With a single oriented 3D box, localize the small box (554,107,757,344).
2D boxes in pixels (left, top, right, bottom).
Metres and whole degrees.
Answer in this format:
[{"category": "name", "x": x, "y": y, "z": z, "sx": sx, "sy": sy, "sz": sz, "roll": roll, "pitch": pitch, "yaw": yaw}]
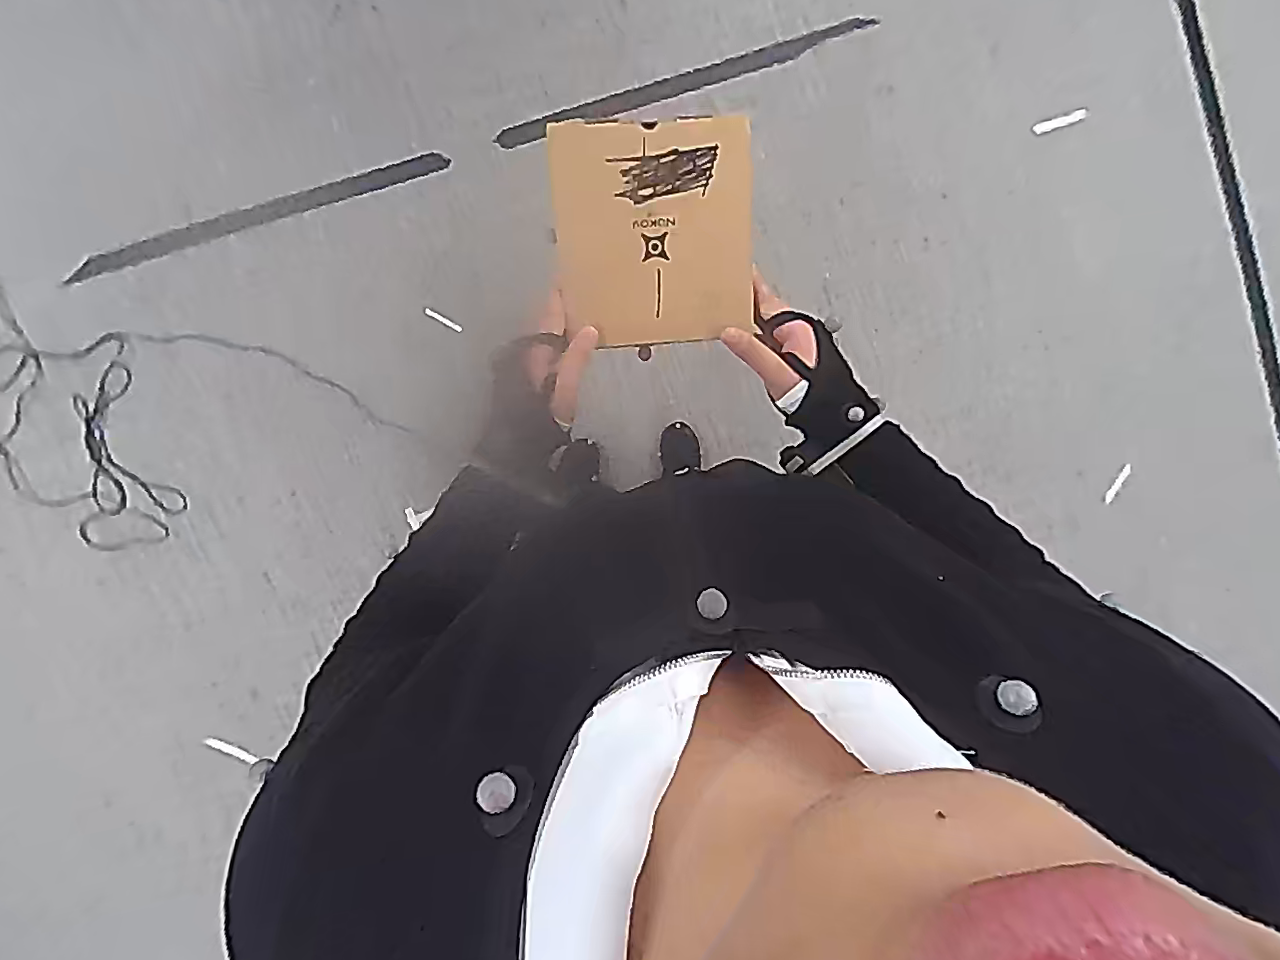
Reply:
[{"category": "small box", "x": 0.010, "y": -0.230, "z": 0.531, "sx": 0.168, "sy": 0.176, "sz": 0.179, "roll": -6, "pitch": 104, "yaw": -3}]
